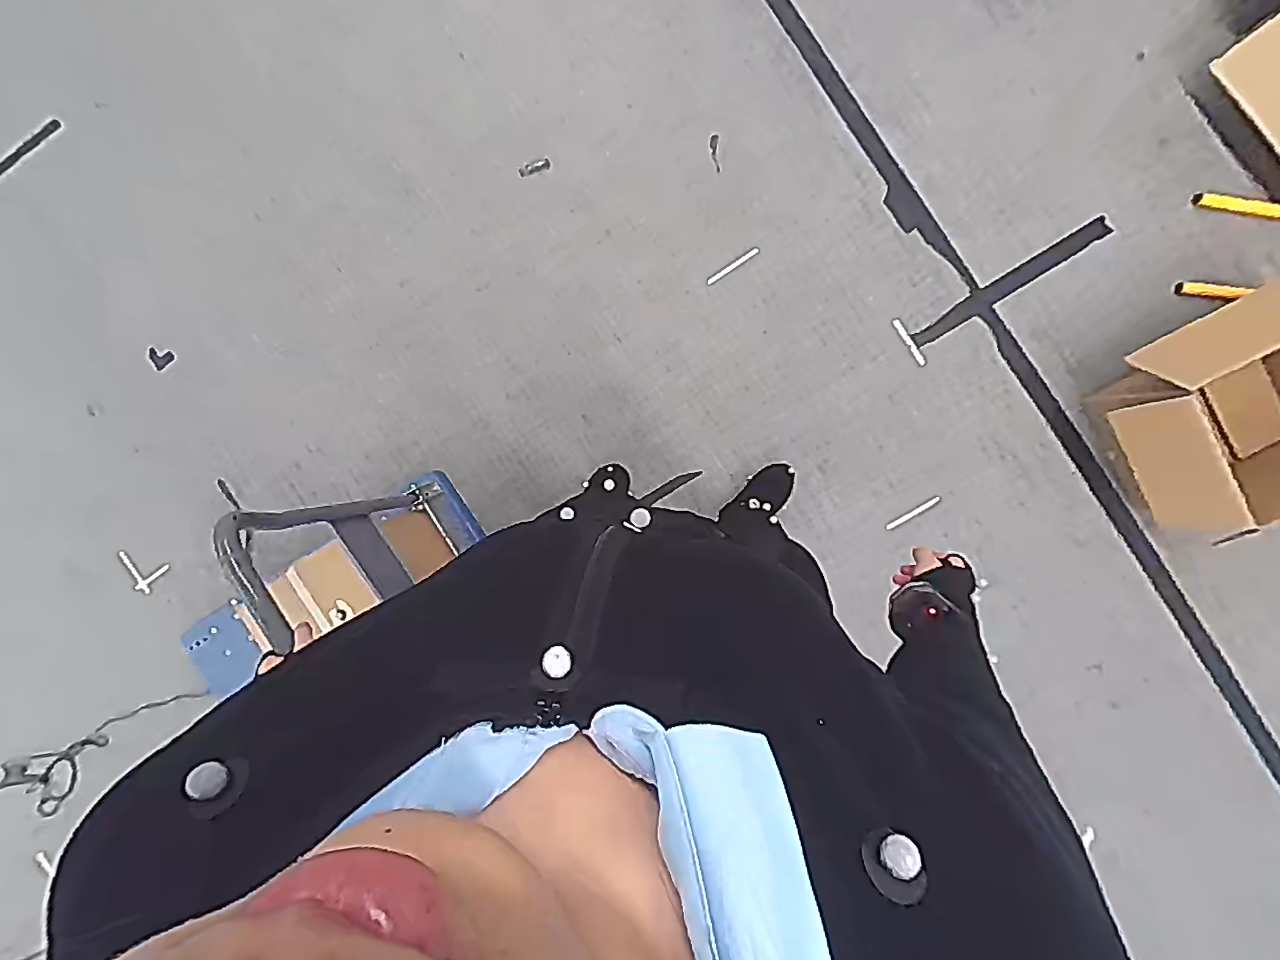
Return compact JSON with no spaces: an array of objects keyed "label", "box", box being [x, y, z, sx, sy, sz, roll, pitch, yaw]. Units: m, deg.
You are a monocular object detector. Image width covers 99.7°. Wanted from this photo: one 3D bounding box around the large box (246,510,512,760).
[{"label":"large box","box":[-0.568,0.329,1.248,0.320,0.320,0.408,-32,90,7]}]
